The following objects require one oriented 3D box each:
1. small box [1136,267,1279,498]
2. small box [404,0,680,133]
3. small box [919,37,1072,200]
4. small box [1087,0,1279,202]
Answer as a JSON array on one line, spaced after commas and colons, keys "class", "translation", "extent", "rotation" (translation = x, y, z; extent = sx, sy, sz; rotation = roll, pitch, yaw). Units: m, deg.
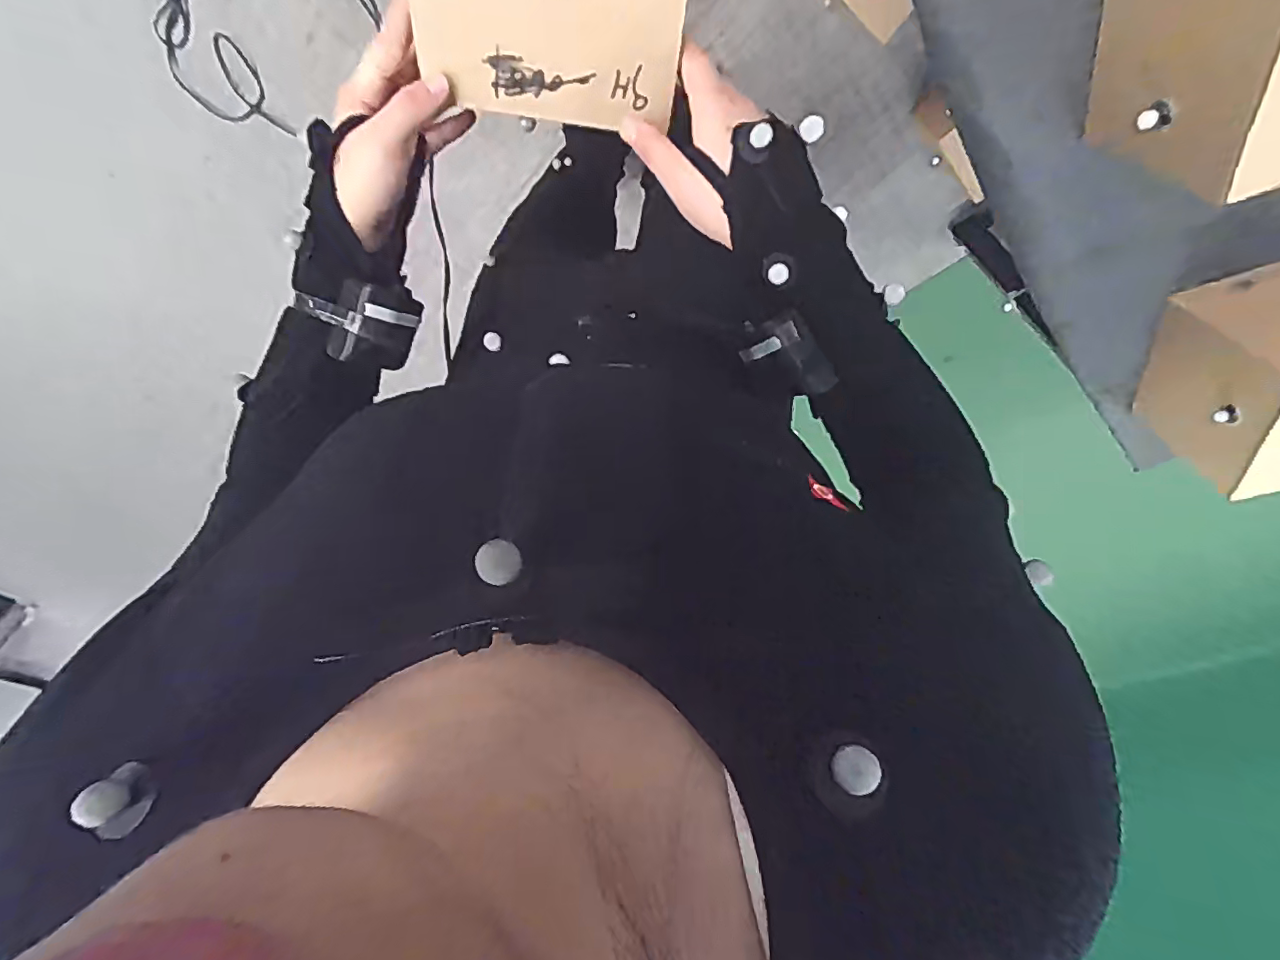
[{"class": "small box", "translation": [0.688, -0.114, 0.577], "extent": [0.168, 0.176, 0.179], "rotation": [-16, 134, 15]}, {"class": "small box", "translation": [-0.053, -0.364, 0.354], "extent": [0.168, 0.176, 0.179], "rotation": [6, 140, -4]}, {"class": "small box", "translation": [0.664, -0.689, 1.034], "extent": [0.168, 0.176, 0.179], "rotation": [31, 130, -30]}, {"class": "small box", "translation": [0.440, -0.327, 0.354], "extent": [0.168, 0.176, 0.179], "rotation": [-18, 133, 16]}]
